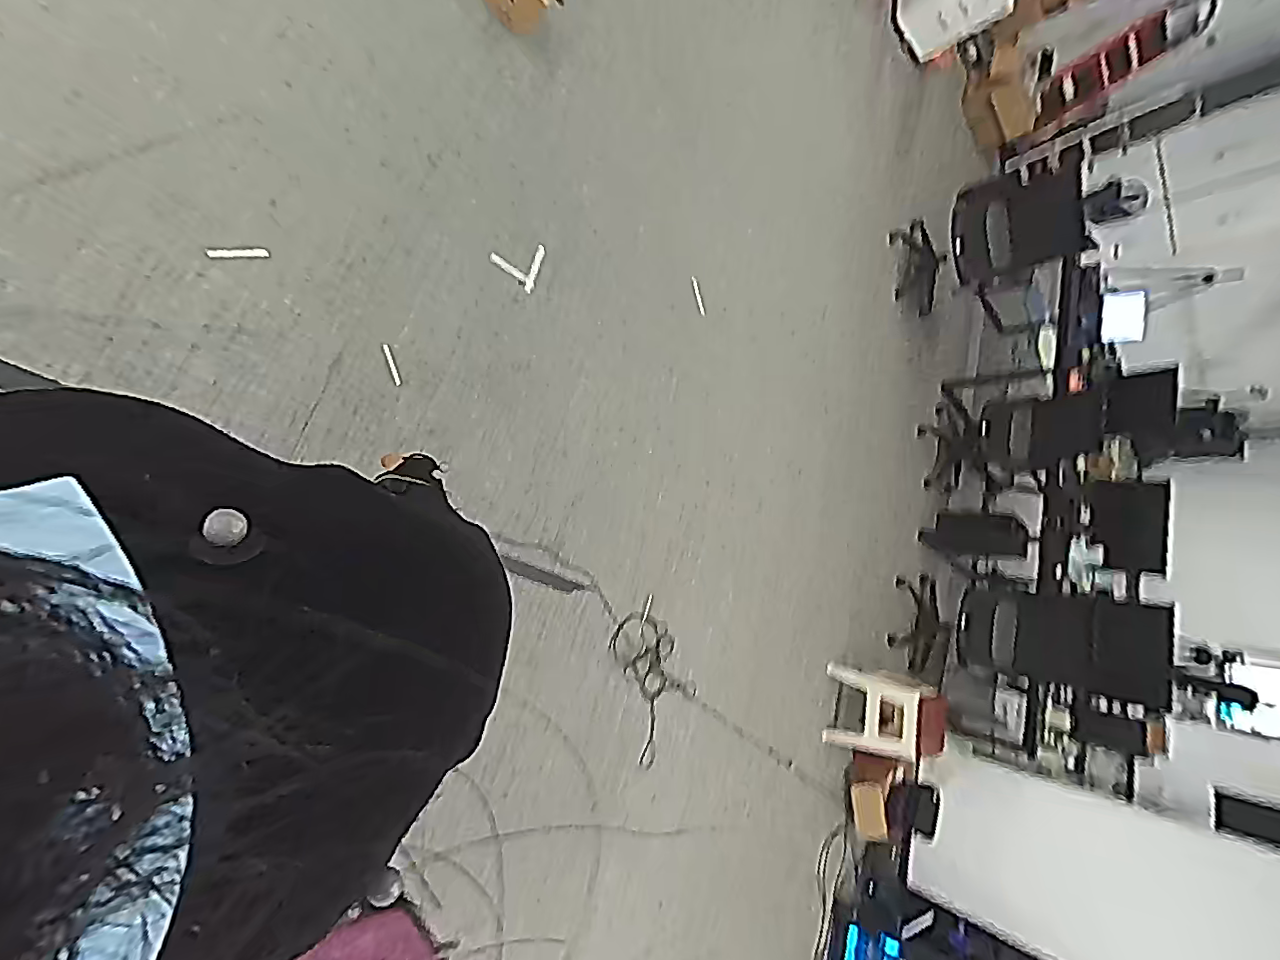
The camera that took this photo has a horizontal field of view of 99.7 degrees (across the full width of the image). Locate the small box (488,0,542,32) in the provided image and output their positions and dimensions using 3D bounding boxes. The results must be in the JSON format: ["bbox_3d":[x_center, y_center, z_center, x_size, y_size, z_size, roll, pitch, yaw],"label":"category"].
[{"bbox_3d":[-0.375,-1.547,1.660,0.168,0.176,0.179,32,68,-37],"label":"small box"}]
